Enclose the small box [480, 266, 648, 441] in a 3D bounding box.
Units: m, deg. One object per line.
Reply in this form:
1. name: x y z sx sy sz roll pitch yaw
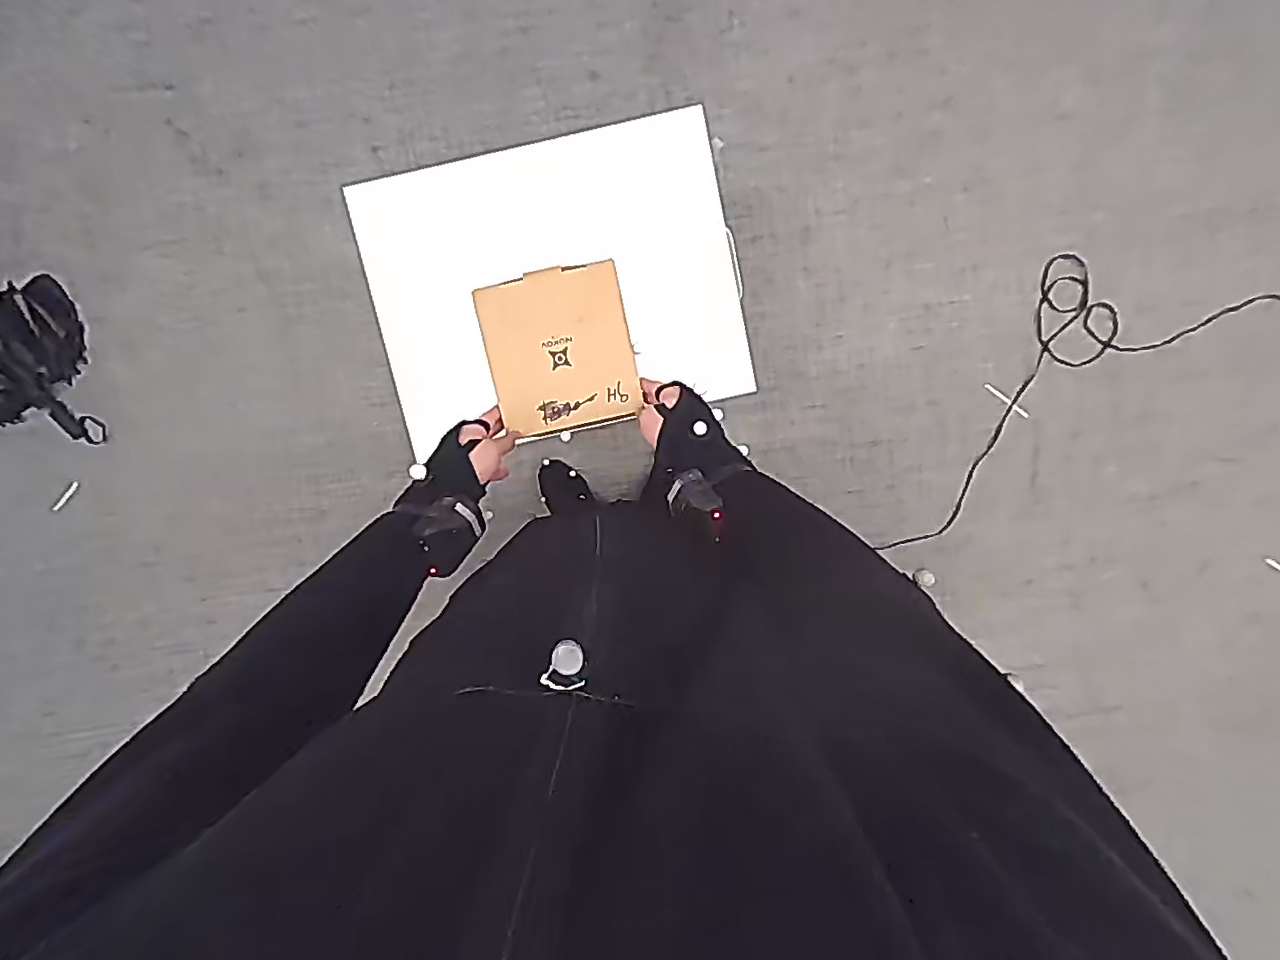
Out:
1. small box: -0.087 -0.151 0.700 0.168 0.176 0.179 -12 96 2
